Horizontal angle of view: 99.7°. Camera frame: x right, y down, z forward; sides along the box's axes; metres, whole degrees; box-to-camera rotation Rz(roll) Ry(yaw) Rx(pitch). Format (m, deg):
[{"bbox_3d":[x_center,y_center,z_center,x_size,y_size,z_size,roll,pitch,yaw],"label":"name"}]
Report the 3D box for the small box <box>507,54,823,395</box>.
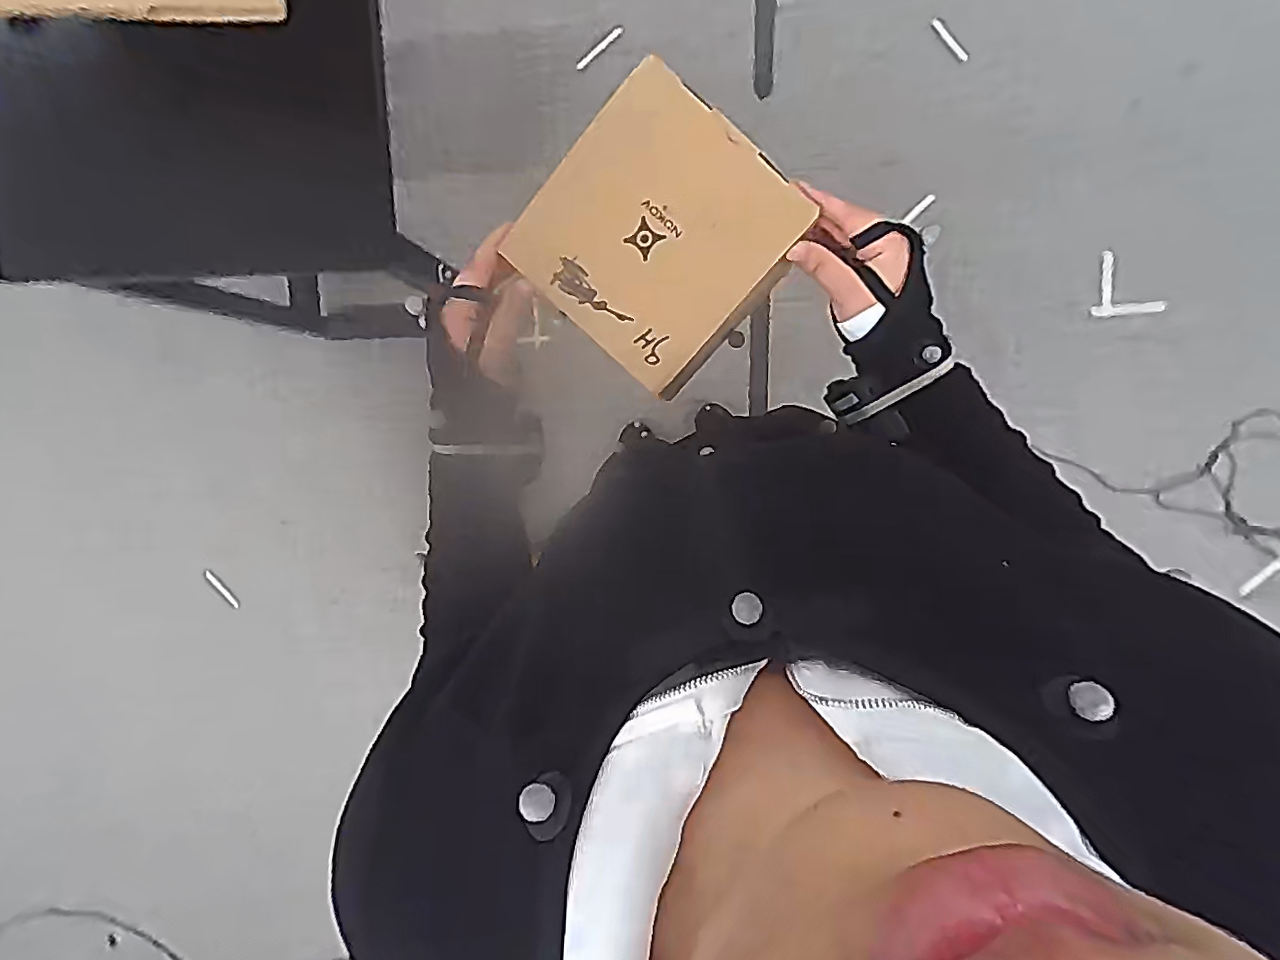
[{"bbox_3d":[0.022,-0.193,0.471,0.168,0.176,0.179,44,98,1],"label":"small box"}]
